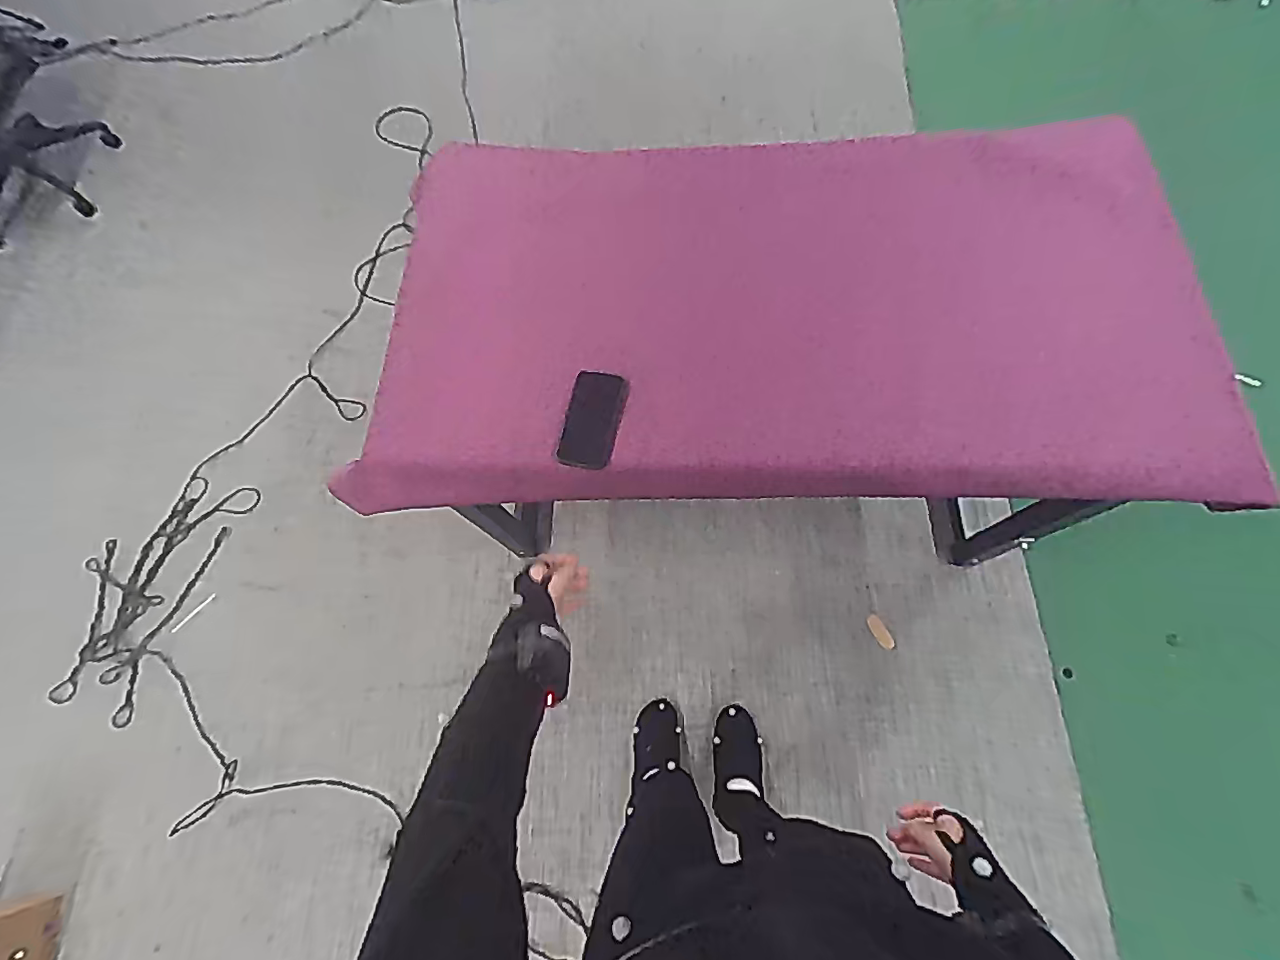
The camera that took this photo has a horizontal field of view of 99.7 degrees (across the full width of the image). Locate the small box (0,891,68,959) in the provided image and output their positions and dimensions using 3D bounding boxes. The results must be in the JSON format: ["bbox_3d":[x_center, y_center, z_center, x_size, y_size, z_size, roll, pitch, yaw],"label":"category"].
[{"bbox_3d":[-1.434,1.035,1.187,0.179,0.176,0.168,-9,70,2],"label":"small box"}]
